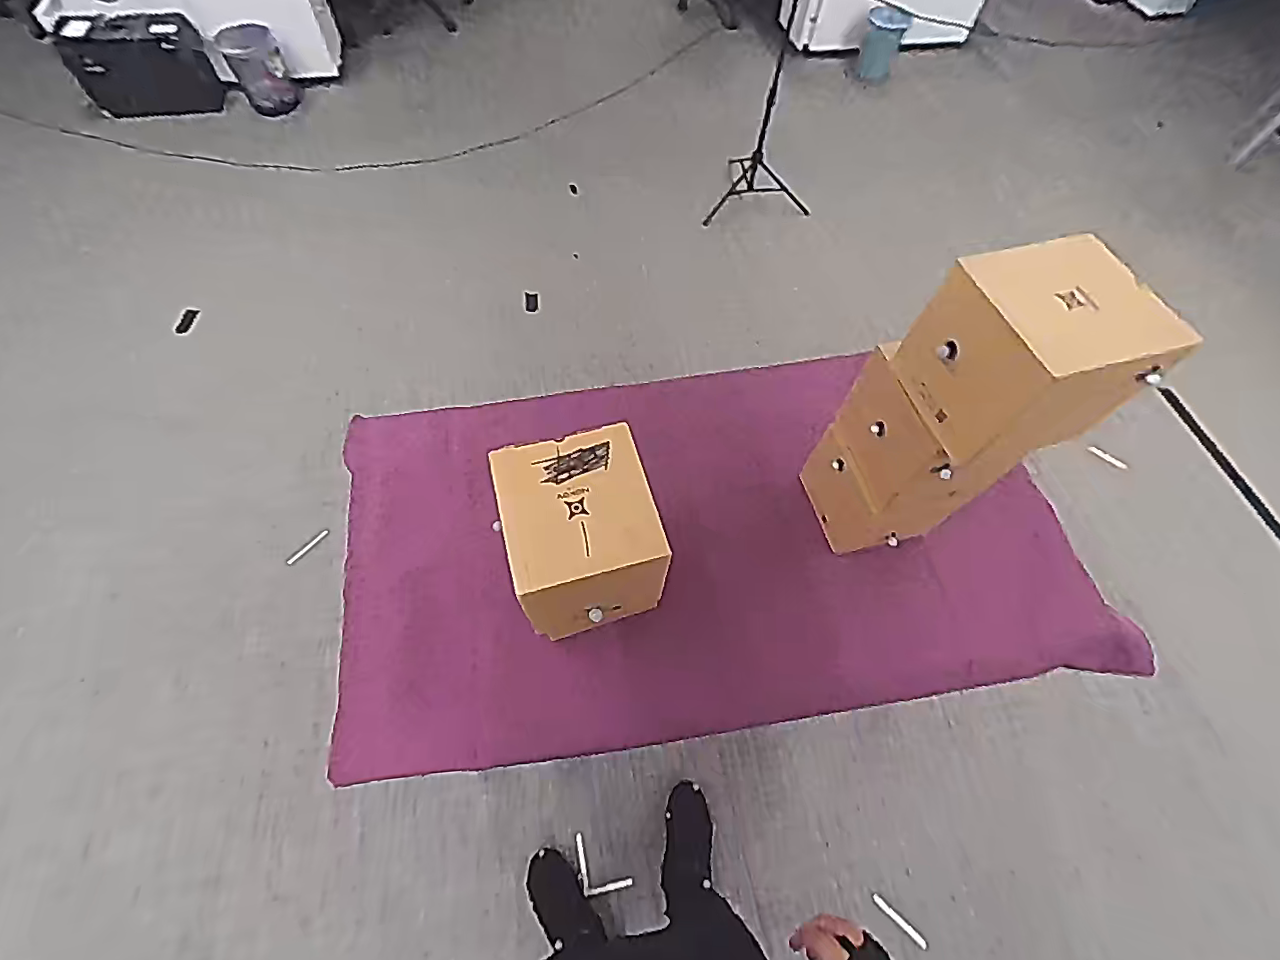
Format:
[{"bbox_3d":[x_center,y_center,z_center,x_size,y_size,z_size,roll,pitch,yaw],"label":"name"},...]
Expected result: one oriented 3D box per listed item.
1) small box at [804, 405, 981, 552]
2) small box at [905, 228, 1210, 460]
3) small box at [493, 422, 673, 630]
[{"bbox_3d":[0.400,0.002,0.890,0.179,0.176,0.168,-11,62,-9],"label":"small box"},{"bbox_3d":[0.426,-0.142,0.596,0.179,0.176,0.168,-14,62,-10],"label":"small box"},{"bbox_3d":[-0.069,0.060,0.649,0.168,0.176,0.179,-14,63,-9],"label":"small box"}]
